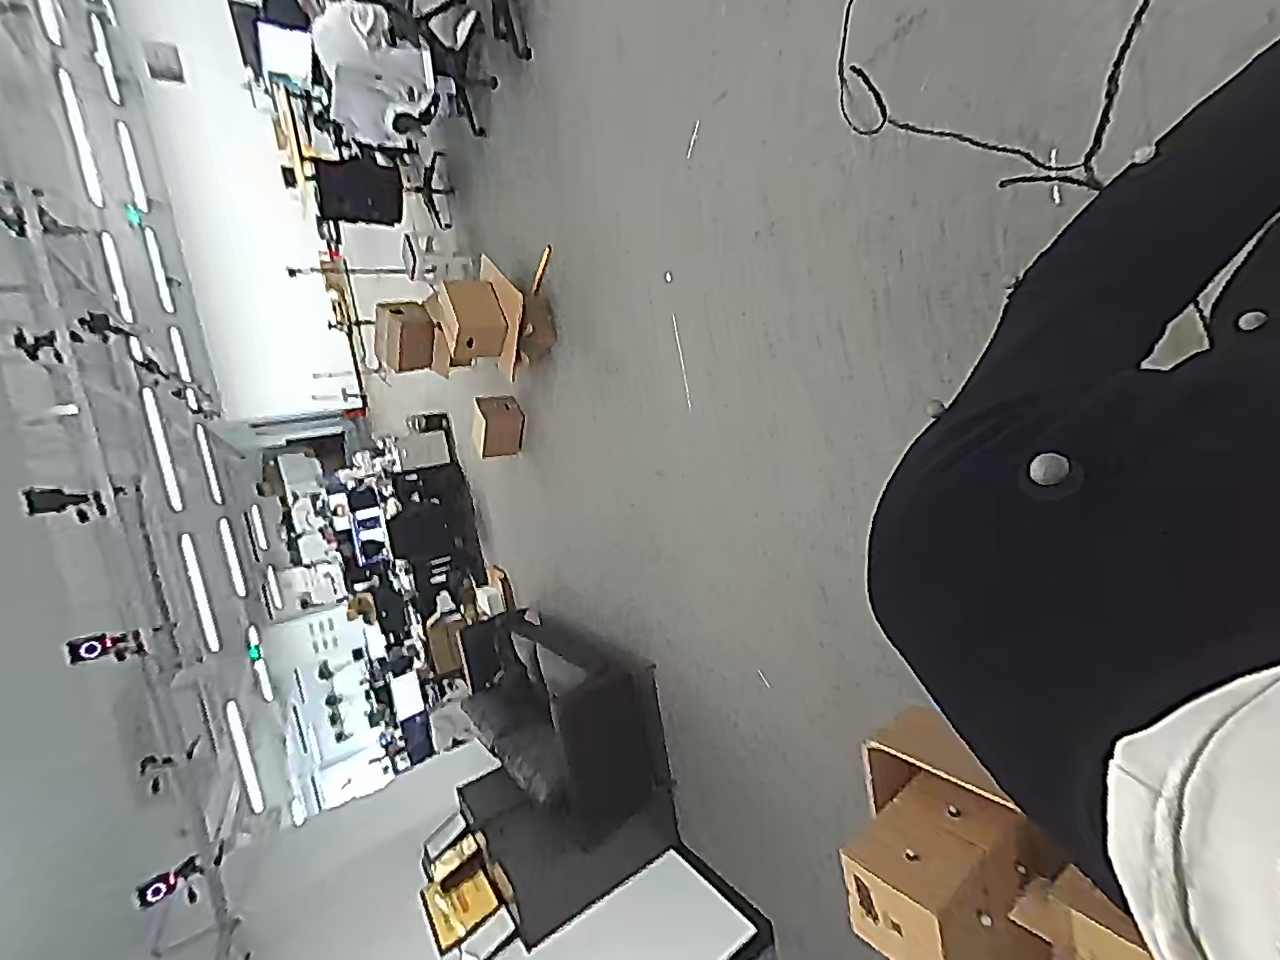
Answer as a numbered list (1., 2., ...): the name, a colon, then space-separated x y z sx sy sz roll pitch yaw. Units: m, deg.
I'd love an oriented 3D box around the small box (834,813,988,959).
1. small box: 0.471 0.726 0.945 0.179 0.176 0.168 0 103 56
